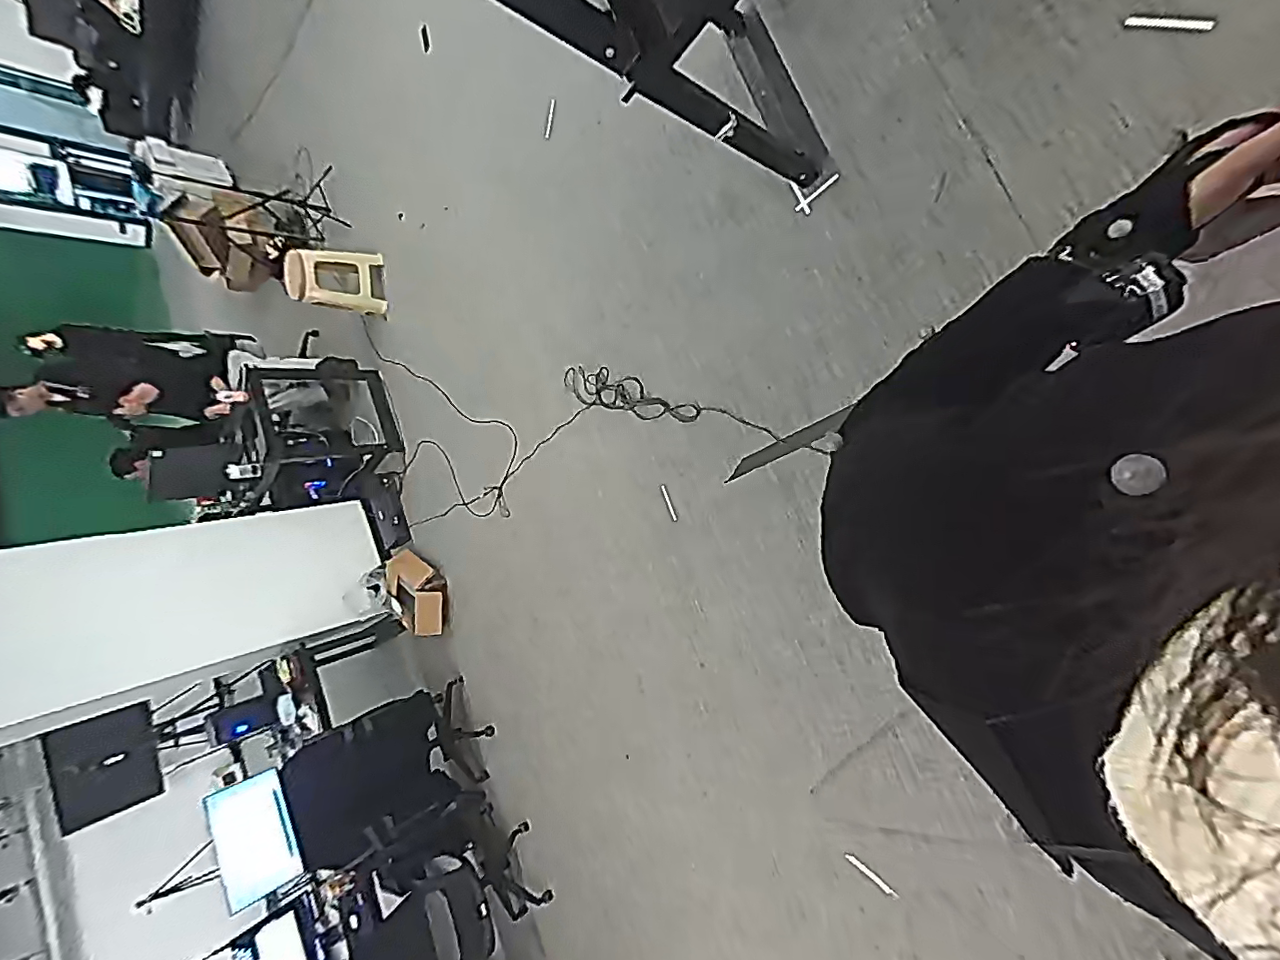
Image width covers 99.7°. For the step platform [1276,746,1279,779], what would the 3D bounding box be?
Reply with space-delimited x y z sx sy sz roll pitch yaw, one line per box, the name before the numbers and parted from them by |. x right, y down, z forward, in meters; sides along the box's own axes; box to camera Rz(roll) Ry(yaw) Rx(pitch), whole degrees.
step platform | 1.417 0.554 0.738 0.684 0.204 0.286 -21 83 42
